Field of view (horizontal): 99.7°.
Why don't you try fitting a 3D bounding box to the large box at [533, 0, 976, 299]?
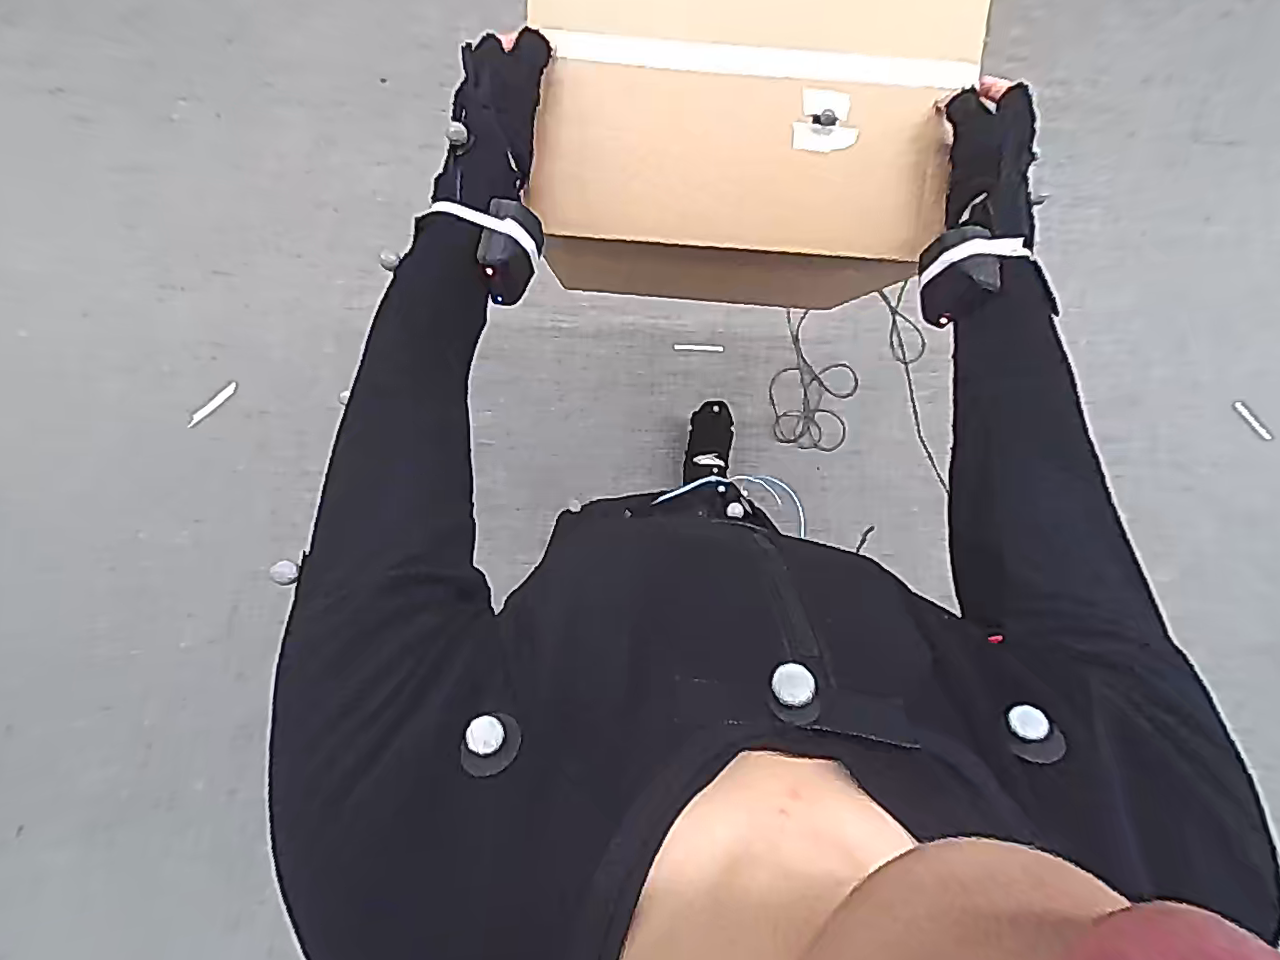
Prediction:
[{"bbox_3d":[0.097,-0.409,0.641,0.408,0.320,0.320,4,100,-3],"label":"large box"}]
